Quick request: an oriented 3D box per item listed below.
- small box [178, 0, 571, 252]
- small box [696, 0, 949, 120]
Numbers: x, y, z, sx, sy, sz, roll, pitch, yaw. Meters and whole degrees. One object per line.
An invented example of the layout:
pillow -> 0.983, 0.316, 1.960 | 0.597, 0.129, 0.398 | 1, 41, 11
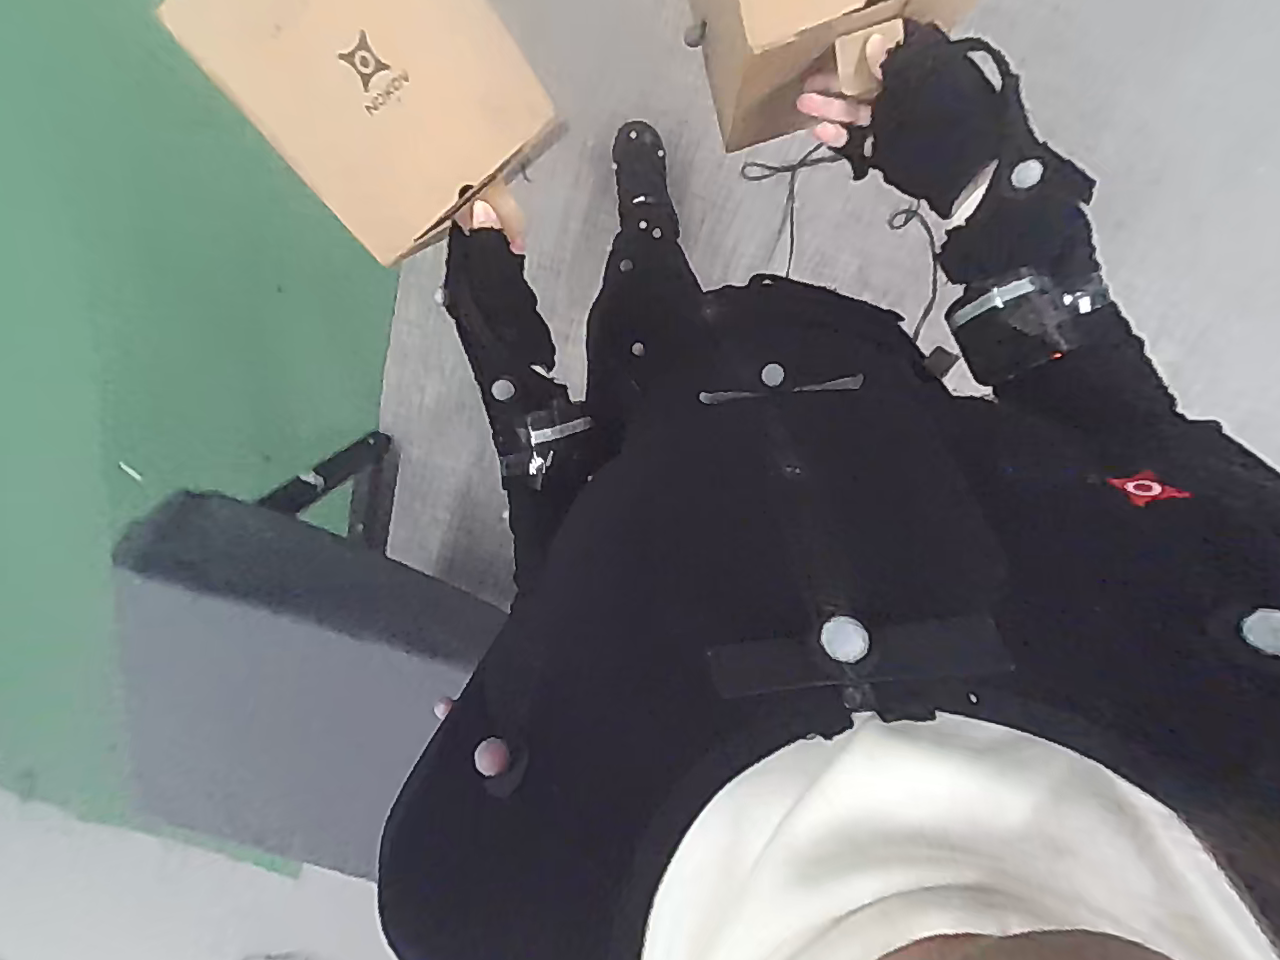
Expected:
small box -> -0.167, -0.309, 0.409 | 0.168, 0.176, 0.179 | -32, 117, 15
small box -> 0.131, -0.406, 0.405 | 0.168, 0.176, 0.179 | -14, 102, 7
